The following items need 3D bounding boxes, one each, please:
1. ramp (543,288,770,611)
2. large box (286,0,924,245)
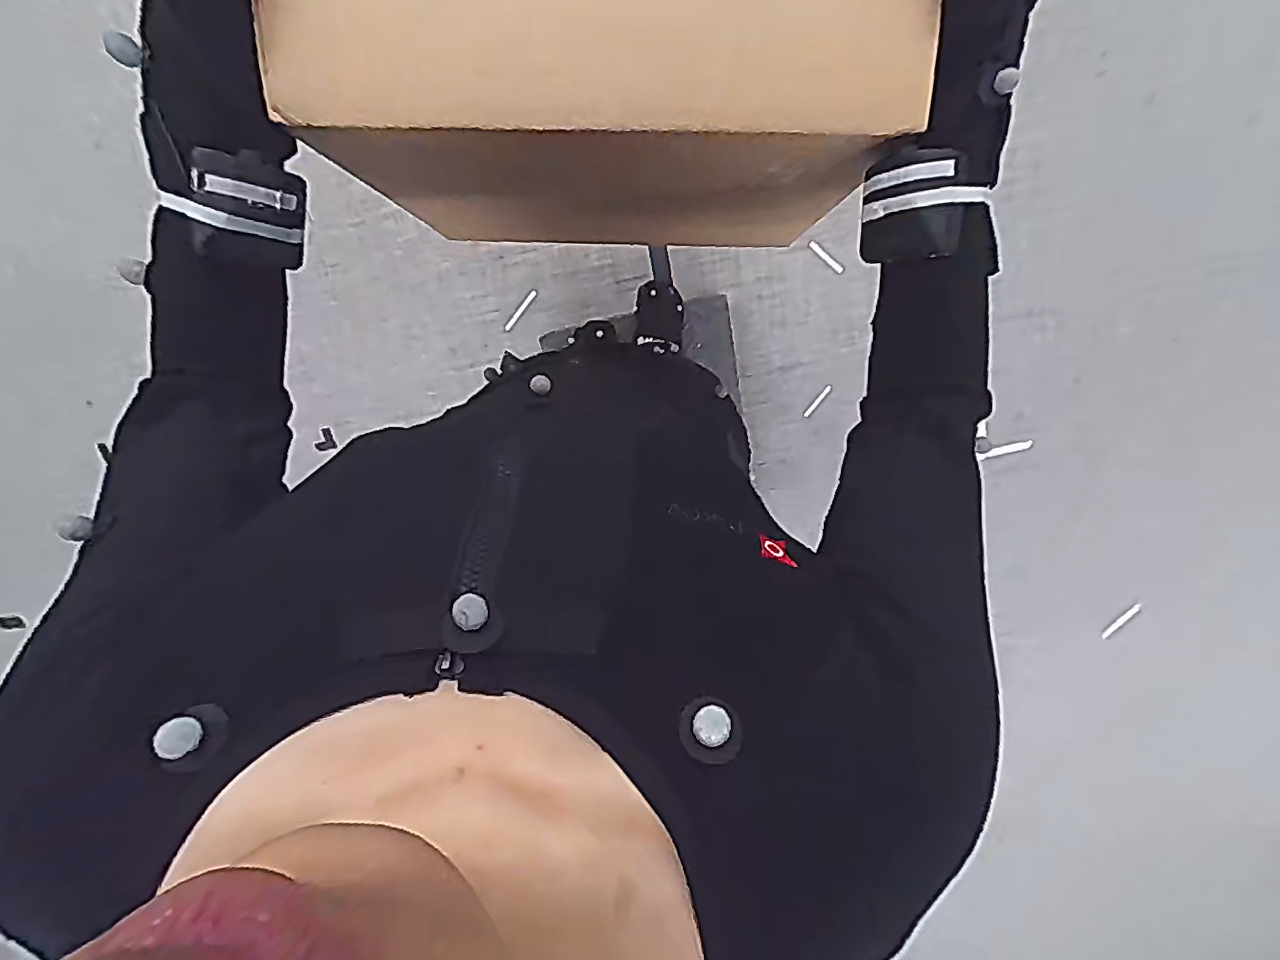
[{"bbox_3d":[0.095,-0.016,1.611,0.509,0.206,0.991,-13,109,6],"label":"ramp"},{"bbox_3d":[-0.022,-0.402,0.466,0.408,0.320,0.320,1,102,0],"label":"large box"}]
